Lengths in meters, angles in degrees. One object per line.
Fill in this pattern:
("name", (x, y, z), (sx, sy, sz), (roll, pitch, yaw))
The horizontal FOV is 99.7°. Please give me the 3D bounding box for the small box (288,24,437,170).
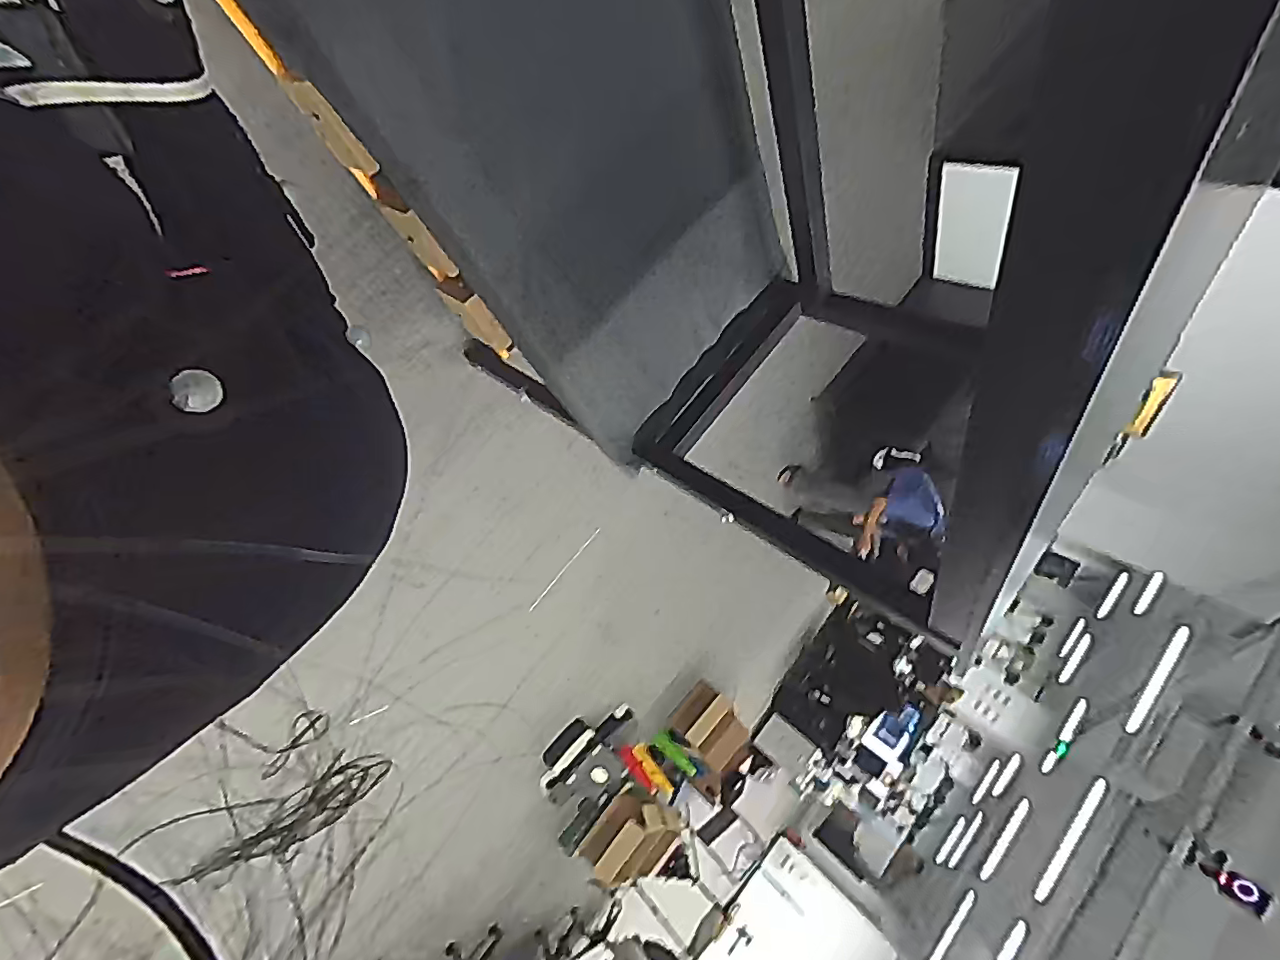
("small box", (-0.538, -0.732, 1.039), (0.179, 0.176, 0.168), (-47, 143, -12))
